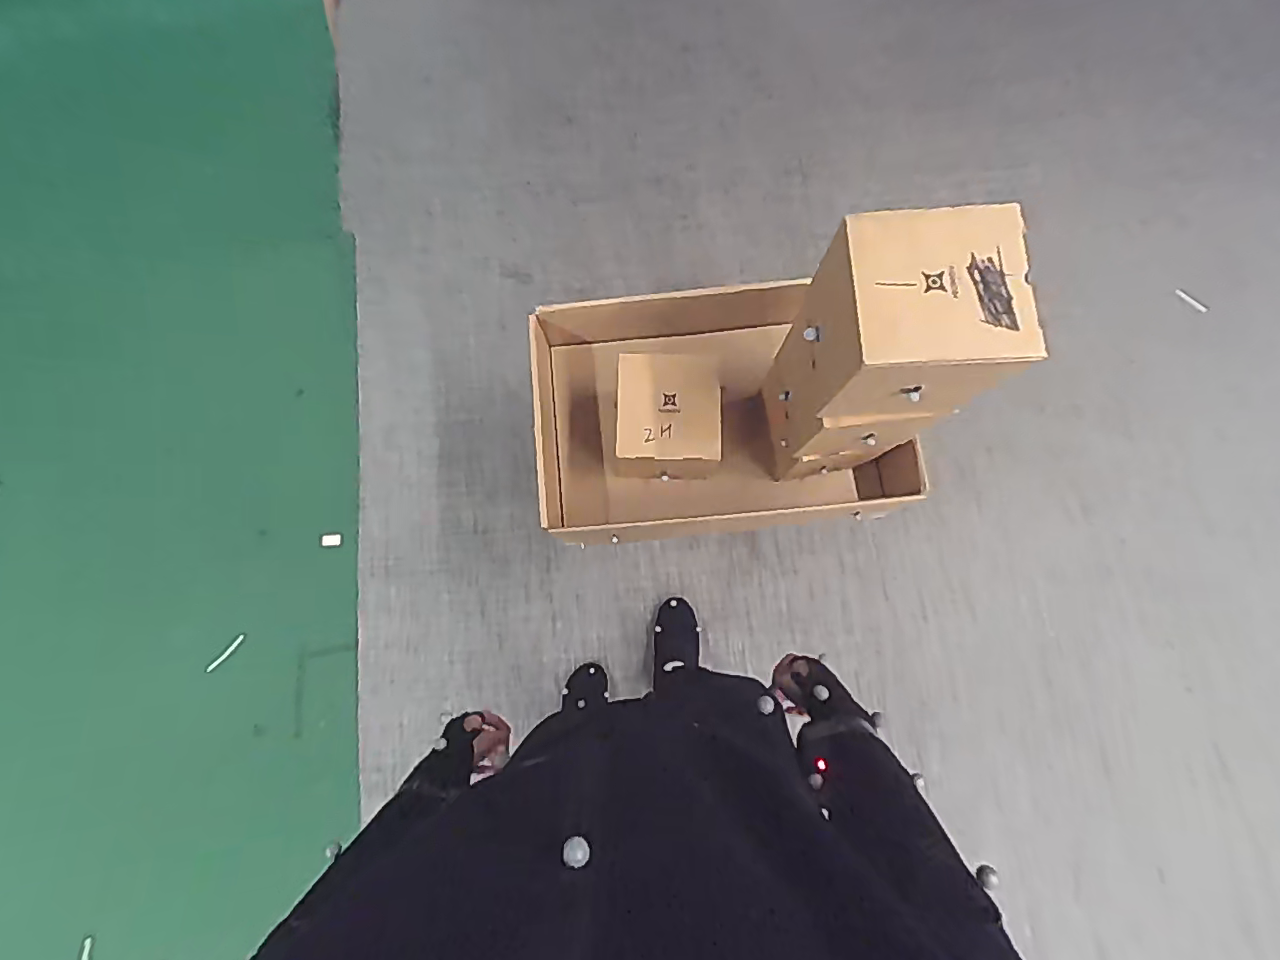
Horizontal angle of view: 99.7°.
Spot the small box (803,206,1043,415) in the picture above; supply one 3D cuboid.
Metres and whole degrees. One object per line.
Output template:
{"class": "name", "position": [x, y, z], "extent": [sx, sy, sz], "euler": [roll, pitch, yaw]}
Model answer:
{"class": "small box", "position": [0.296, -0.176, 0.605], "extent": [0.179, 0.176, 0.168], "euler": [-2, 79, 2]}
